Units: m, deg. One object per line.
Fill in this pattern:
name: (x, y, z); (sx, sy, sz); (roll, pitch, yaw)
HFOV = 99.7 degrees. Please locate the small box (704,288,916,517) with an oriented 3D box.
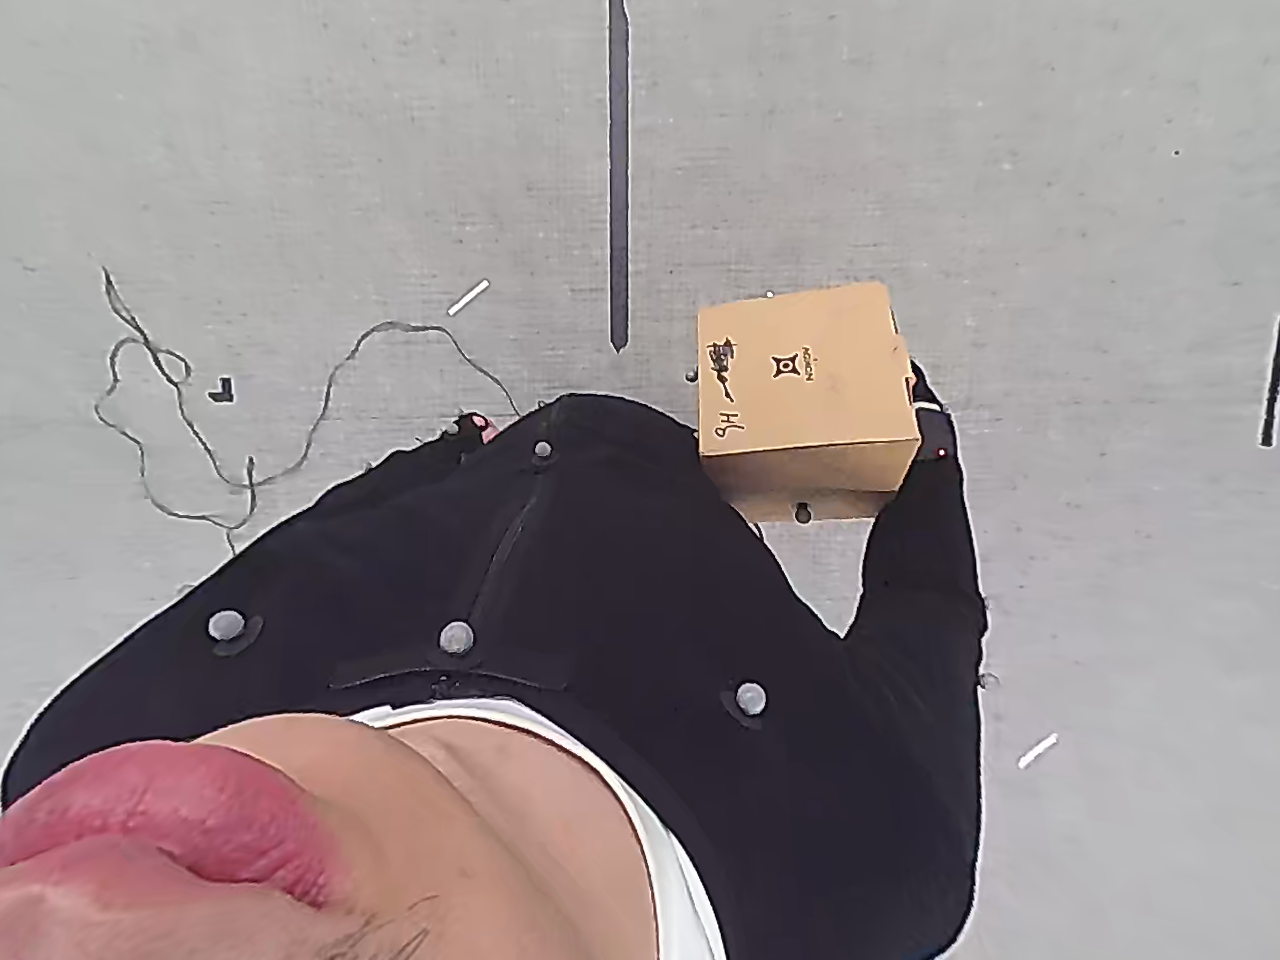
small box: (0.161, -0.068, 0.560); (0.179, 0.176, 0.168); (-4, 63, 12)
